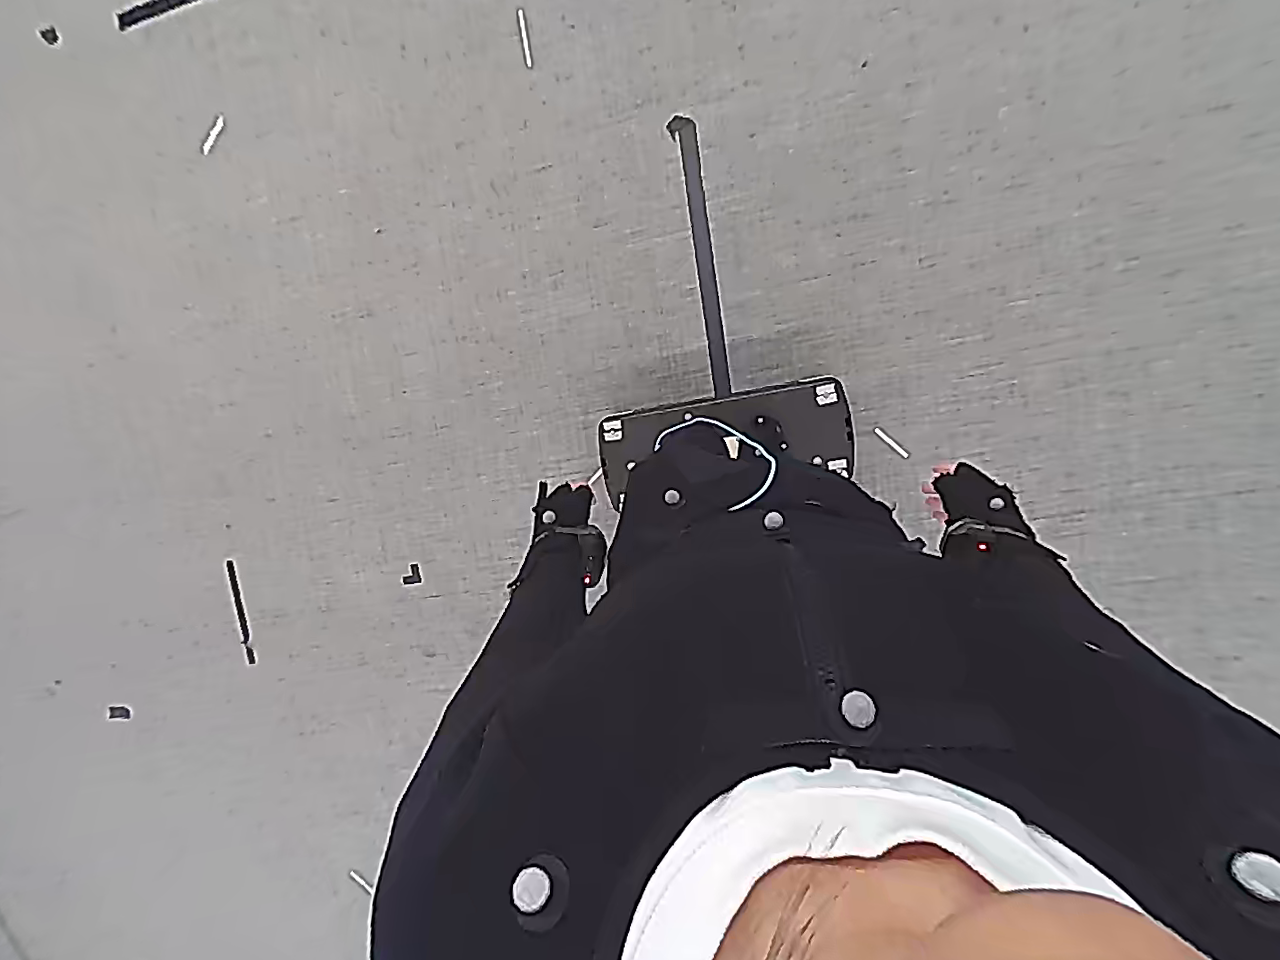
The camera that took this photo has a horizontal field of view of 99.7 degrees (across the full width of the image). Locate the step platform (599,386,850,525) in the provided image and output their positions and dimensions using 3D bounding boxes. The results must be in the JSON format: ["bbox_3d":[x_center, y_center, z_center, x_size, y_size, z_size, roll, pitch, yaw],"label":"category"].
[{"bbox_3d":[0.225,-0.066,1.526,0.684,0.204,0.286,-10,97,10],"label":"step platform"}]
